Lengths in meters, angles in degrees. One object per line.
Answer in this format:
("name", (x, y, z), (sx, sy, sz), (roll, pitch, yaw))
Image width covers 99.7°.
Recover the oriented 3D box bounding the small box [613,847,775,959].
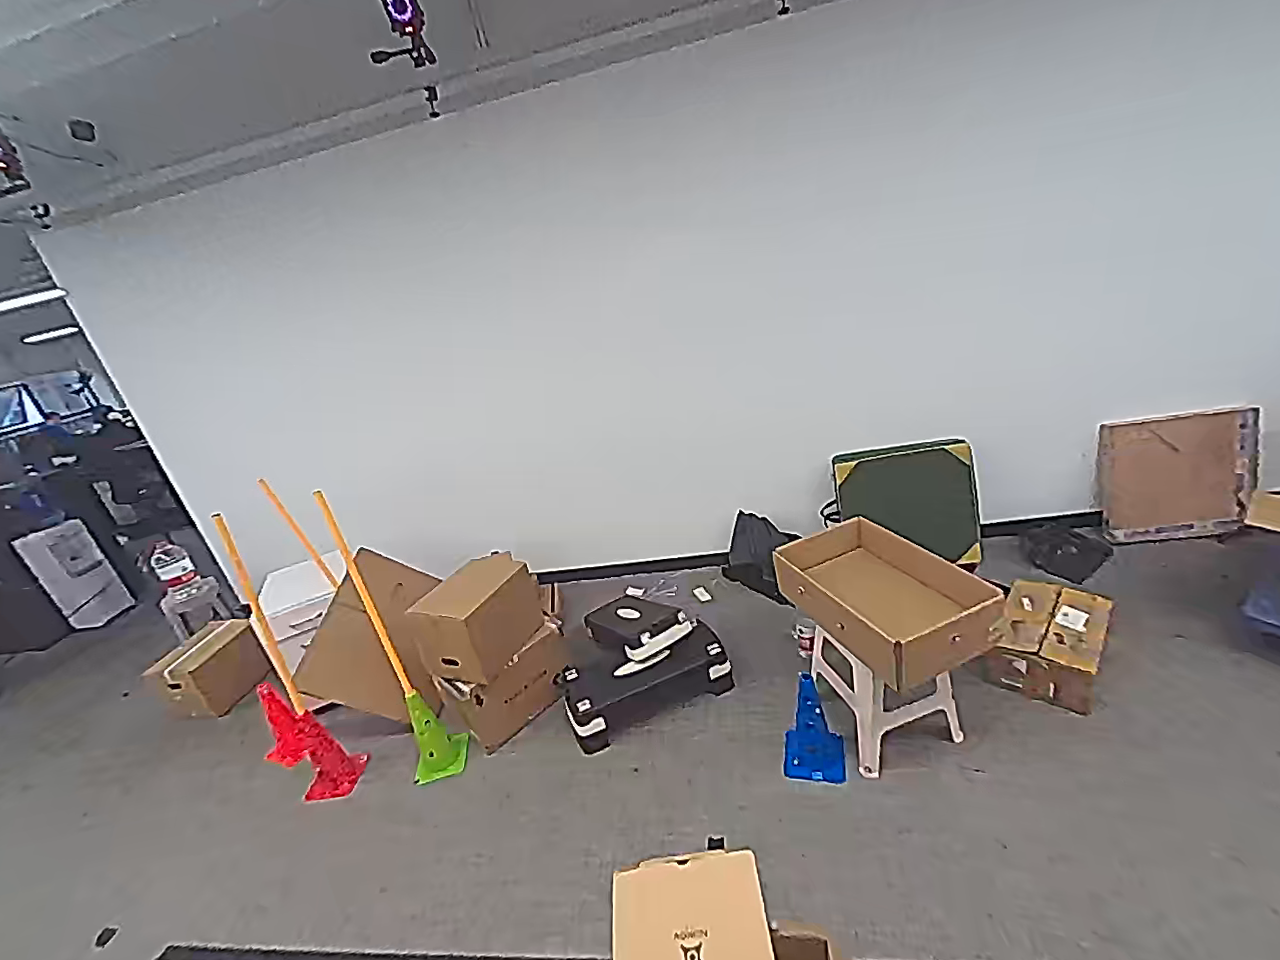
("small box", (0.064, 0.547, 0.592), (0.168, 0.176, 0.179), (-9, 29, 3))
